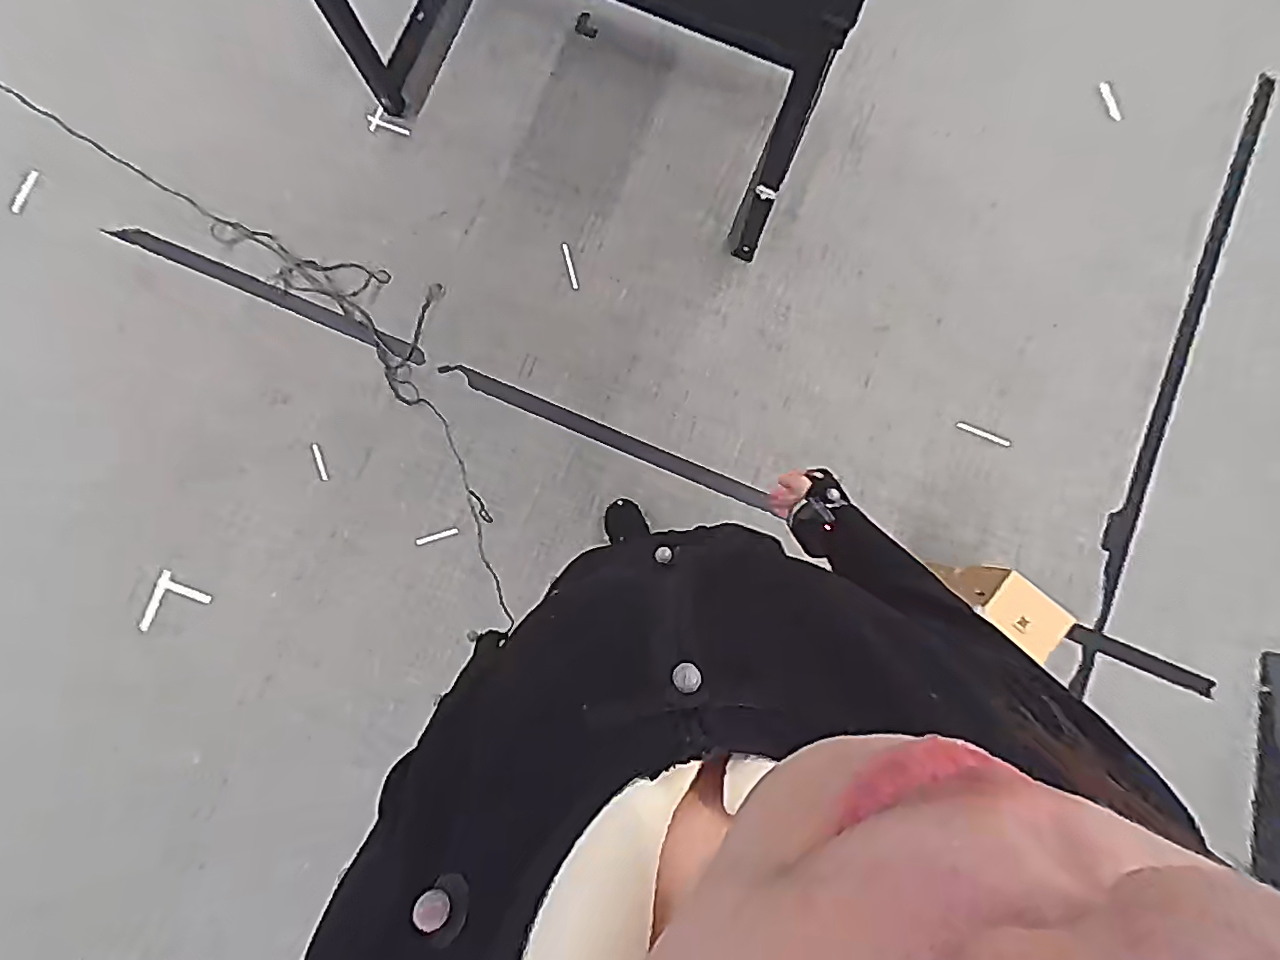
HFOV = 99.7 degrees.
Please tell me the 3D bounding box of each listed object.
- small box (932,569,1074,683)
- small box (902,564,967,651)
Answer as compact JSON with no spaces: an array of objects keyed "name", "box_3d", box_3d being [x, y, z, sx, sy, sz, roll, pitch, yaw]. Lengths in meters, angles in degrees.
[{"name":"small box","box_3d":[0.812,0.319,1.230,0.168,0.176,0.179,40,86,4]},{"name":"small box","box_3d":[0.810,0.333,1.395,0.168,0.176,0.179,28,87,2]}]
